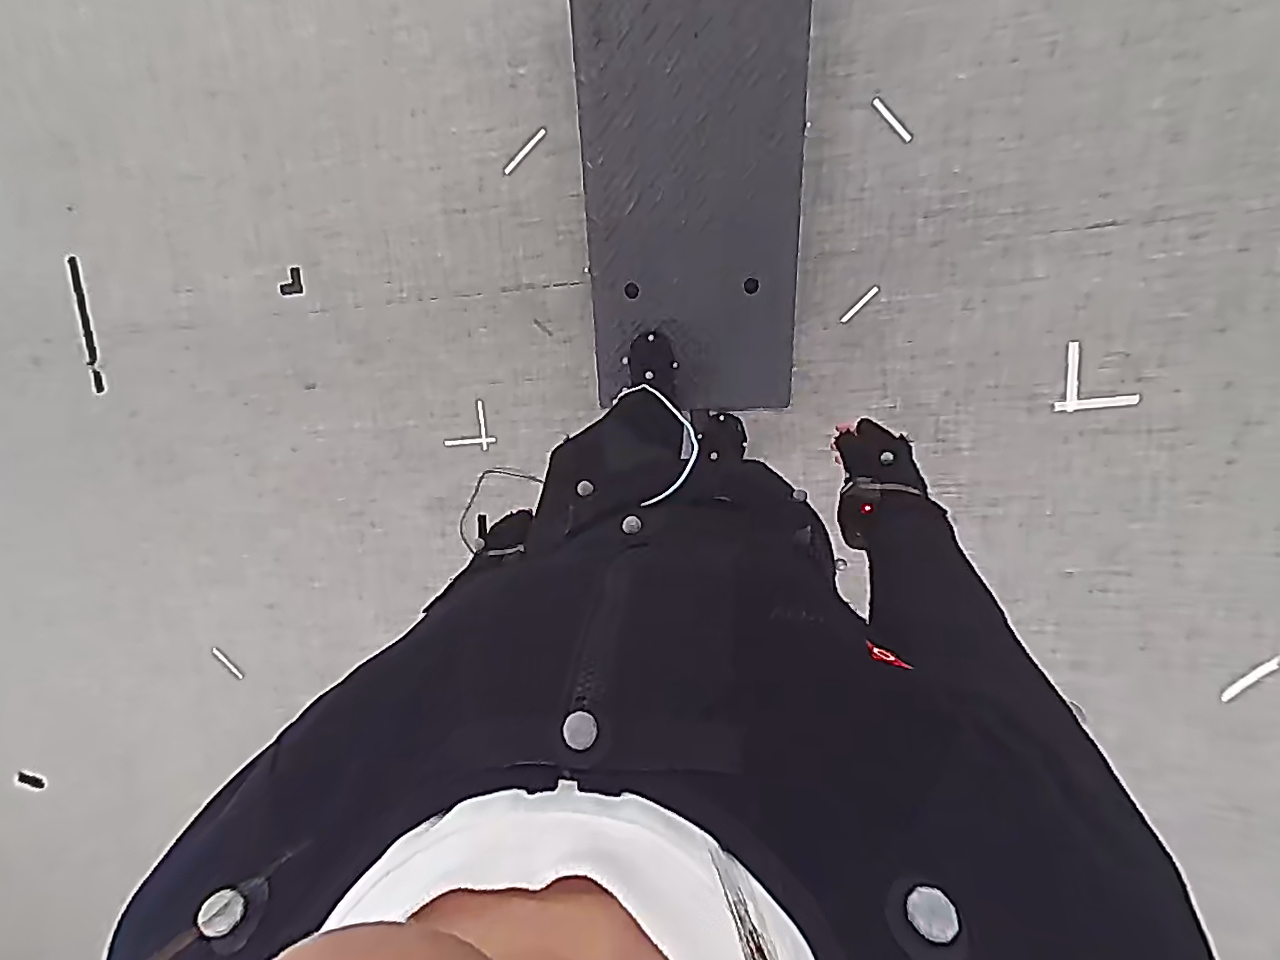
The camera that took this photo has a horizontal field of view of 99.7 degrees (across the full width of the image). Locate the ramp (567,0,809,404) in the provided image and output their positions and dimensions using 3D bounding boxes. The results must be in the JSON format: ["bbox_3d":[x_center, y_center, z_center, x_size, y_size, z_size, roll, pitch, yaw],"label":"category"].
[{"bbox_3d":[0.110,-0.663,1.213,0.509,0.206,0.991,-1,102,9],"label":"ramp"}]
